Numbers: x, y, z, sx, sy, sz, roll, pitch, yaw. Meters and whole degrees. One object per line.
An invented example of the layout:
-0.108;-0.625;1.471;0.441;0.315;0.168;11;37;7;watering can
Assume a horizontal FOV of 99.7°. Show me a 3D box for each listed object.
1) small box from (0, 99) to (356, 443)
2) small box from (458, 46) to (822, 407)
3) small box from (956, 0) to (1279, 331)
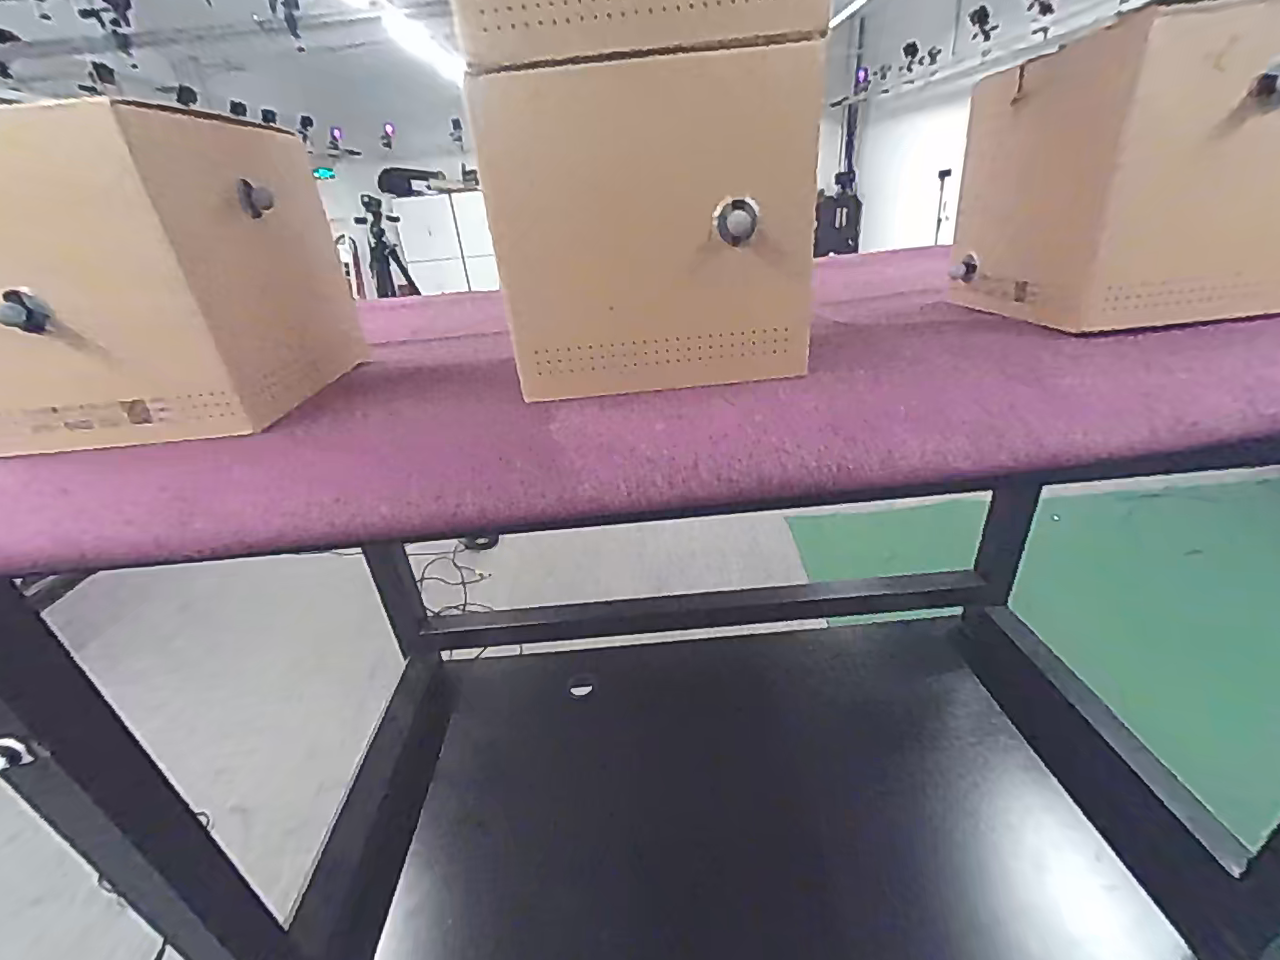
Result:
-0.317;-0.129;0.353;0.168;0.176;0.179;-5;28;-1;small box
0.003;-0.159;0.361;0.179;0.176;0.168;-7;27;0;small box
0.349;-0.205;0.377;0.179;0.176;0.168;-5;26;2;small box
